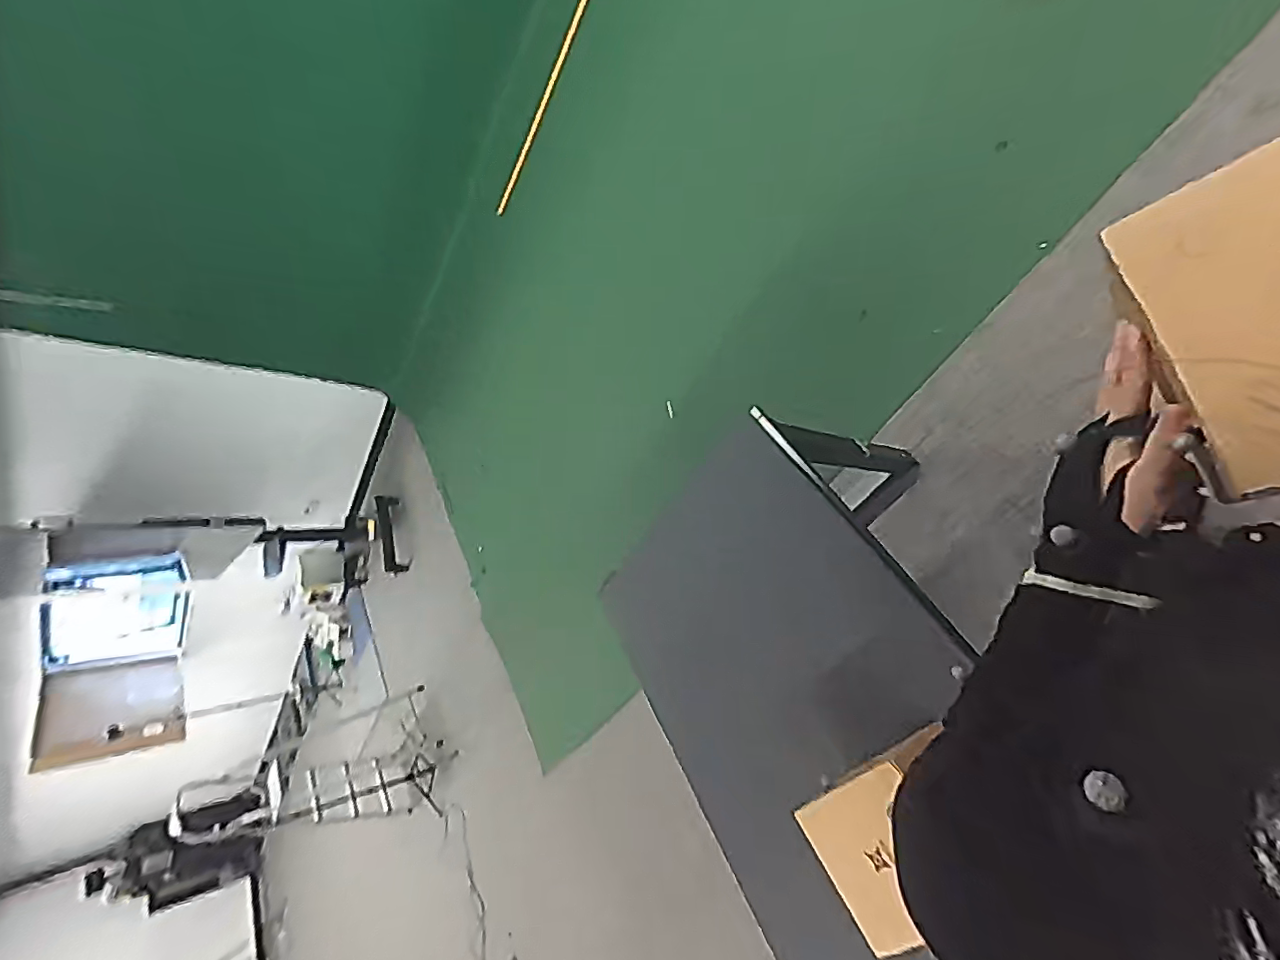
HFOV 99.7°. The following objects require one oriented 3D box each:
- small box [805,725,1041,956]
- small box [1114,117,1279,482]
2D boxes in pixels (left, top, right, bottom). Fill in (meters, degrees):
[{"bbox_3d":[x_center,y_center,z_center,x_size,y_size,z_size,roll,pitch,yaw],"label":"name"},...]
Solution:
[{"bbox_3d":[0.354,0.441,0.680,0.179,0.176,0.168,-54,52,31],"label":"small box"},{"bbox_3d":[0.412,-0.107,0.308,0.168,0.176,0.179,-28,69,41],"label":"small box"}]
